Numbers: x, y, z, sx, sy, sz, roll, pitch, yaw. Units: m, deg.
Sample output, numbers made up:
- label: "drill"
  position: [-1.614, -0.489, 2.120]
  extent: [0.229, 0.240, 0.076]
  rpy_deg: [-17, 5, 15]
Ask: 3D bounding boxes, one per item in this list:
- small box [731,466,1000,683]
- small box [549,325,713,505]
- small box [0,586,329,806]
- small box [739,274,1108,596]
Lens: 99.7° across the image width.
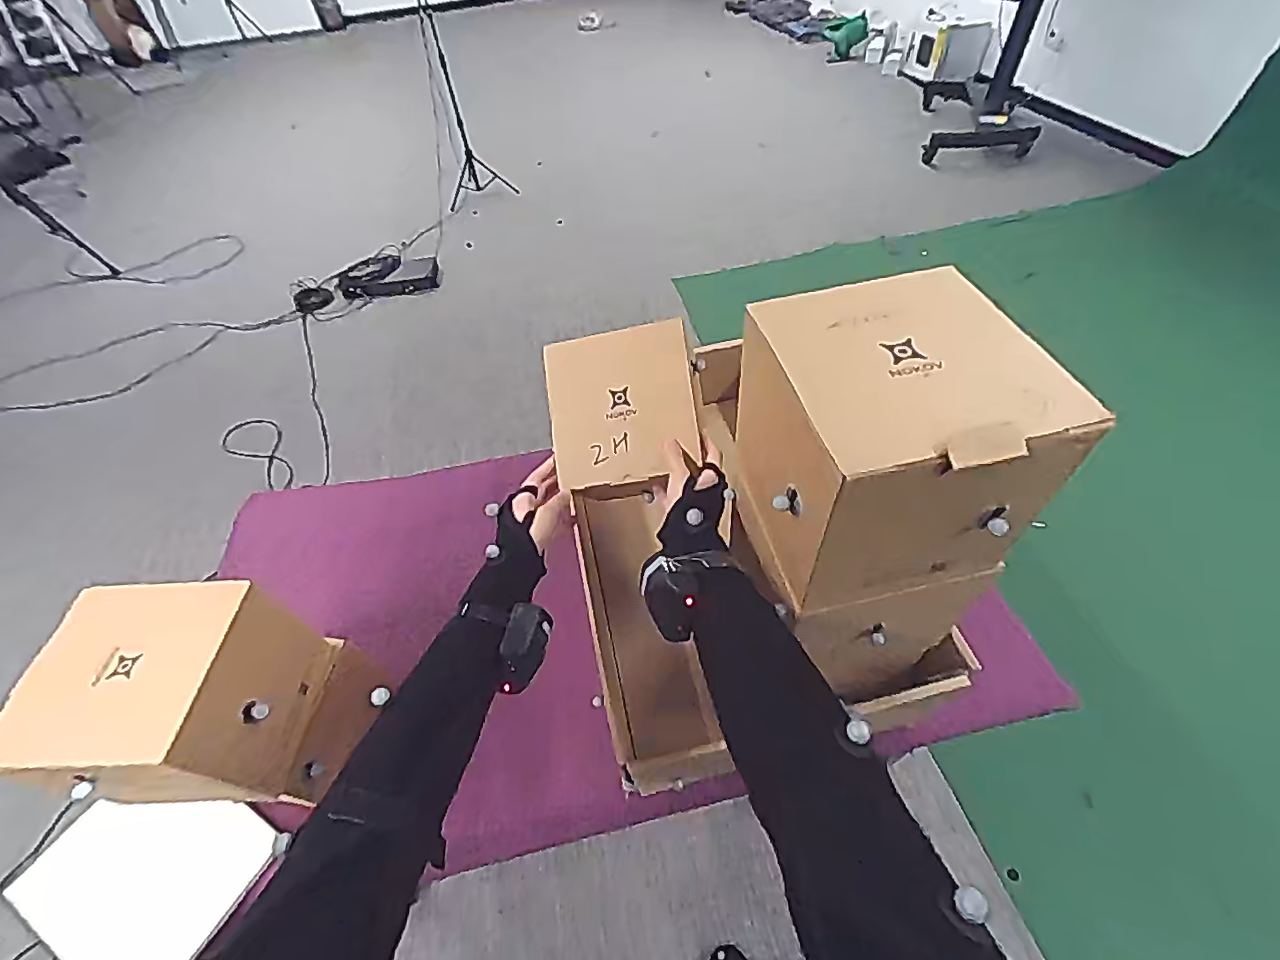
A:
- label: "small box"
  position: [0.198, 0.081, 0.539]
  extent: [0.179, 0.176, 0.168]
  rpy_deg: [-12, 50, -2]
- label: "small box"
  position: [-0.004, -0.069, 0.684]
  extent: [0.168, 0.176, 0.179]
  rpy_deg: [-8, 82, 11]
- label: "small box"
  position: [-0.457, 0.221, 0.545]
  extent: [0.179, 0.176, 0.168]
  rpy_deg: [-3, 51, 3]
- label: "small box"
  position: [0.181, -0.027, 0.417]
  extent: [0.168, 0.176, 0.179]
  rpy_deg: [-11, 50, -3]
